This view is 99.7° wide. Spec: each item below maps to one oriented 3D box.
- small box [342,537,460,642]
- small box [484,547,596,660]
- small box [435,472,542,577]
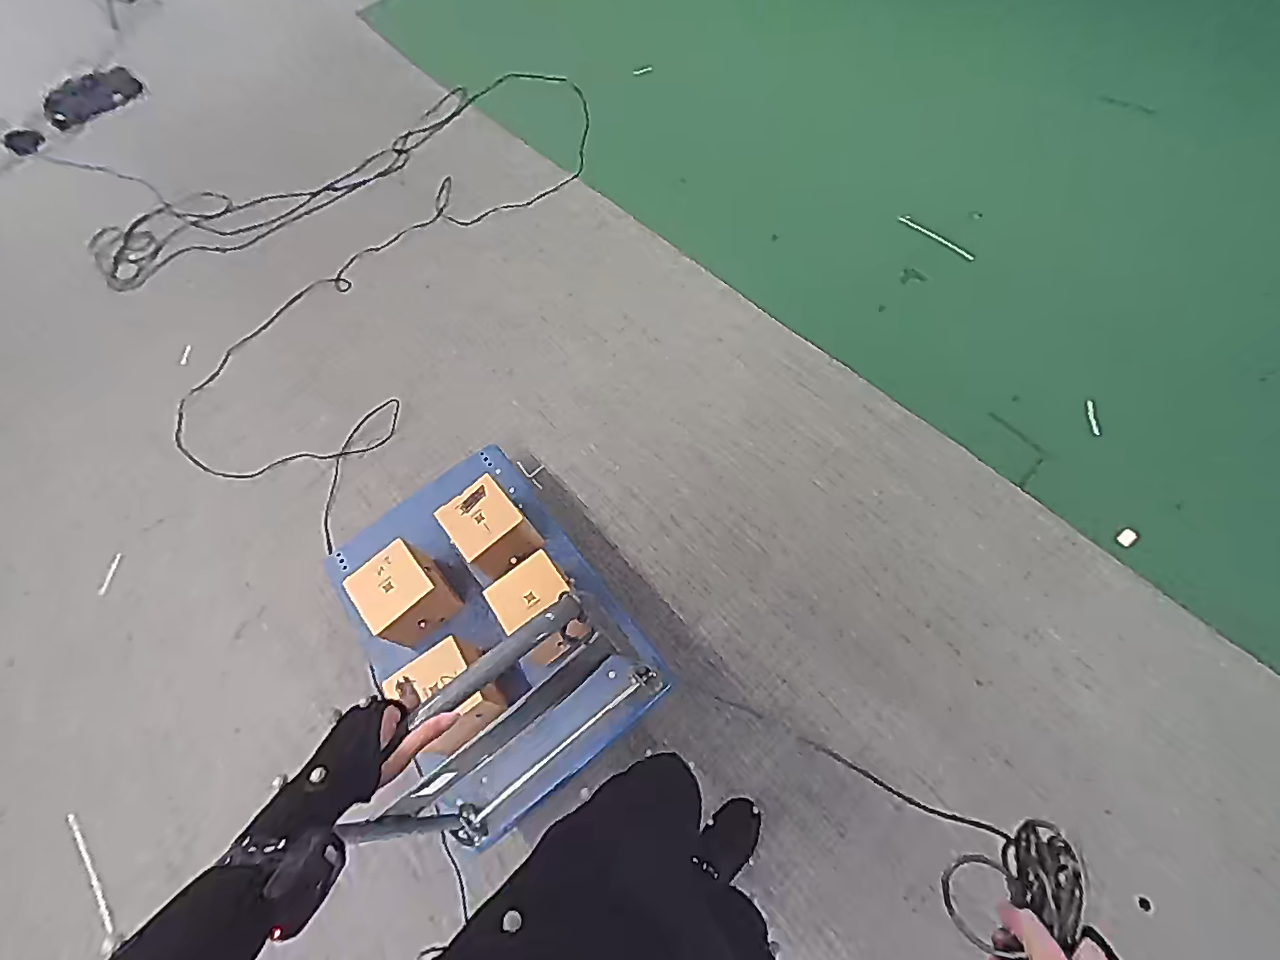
[{"bbox_3d":[-0.574,0.276,1.319,0.168,0.176,0.179,-41,64,-13],"label":"small box"},{"bbox_3d":[-0.227,0.293,1.255,0.168,0.176,0.179,-36,64,-10],"label":"small box"},{"bbox_3d":[-0.378,0.117,1.368,0.168,0.176,0.179,-39,65,-11],"label":"small box"}]
